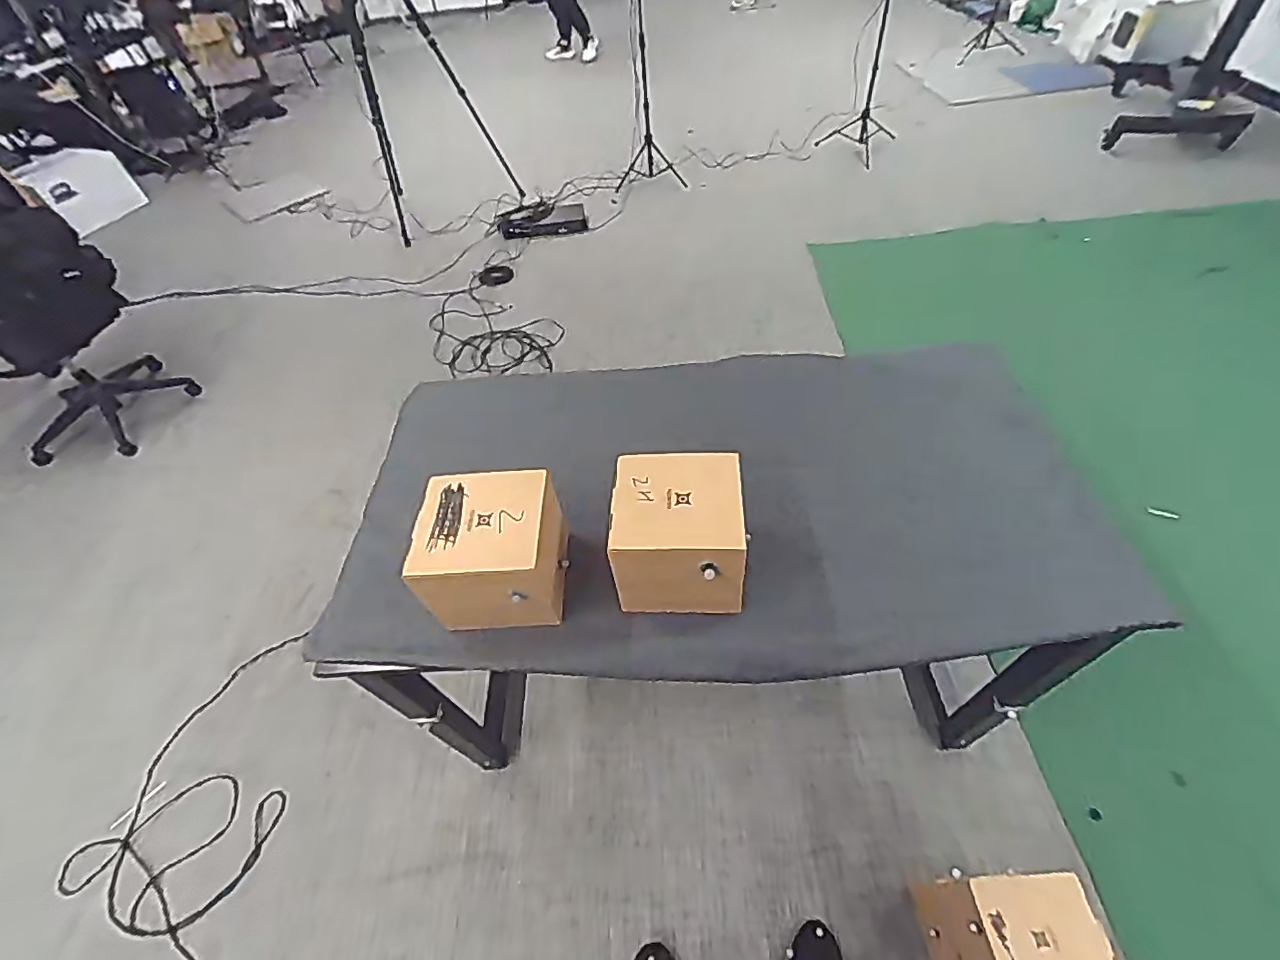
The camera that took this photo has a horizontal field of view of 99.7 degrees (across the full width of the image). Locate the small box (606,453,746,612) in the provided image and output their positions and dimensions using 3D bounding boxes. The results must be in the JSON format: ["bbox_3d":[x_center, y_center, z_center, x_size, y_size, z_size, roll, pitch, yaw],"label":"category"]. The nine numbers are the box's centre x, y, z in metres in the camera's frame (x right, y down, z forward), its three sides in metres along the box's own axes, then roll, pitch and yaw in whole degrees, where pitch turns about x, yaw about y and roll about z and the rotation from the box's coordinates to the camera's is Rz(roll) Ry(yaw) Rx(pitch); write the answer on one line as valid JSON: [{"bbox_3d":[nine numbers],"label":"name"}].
[{"bbox_3d":[0.057,0.078,0.780,0.179,0.176,0.168,-1,49,7],"label":"small box"}]

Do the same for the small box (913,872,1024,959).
[{"bbox_3d":[0.646,0.855,1.018,0.168,0.176,0.179,-6,50,2],"label":"small box"}]

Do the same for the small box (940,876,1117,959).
[{"bbox_3d":[0.634,0.754,0.889,0.179,0.176,0.168,-4,52,4],"label":"small box"}]
